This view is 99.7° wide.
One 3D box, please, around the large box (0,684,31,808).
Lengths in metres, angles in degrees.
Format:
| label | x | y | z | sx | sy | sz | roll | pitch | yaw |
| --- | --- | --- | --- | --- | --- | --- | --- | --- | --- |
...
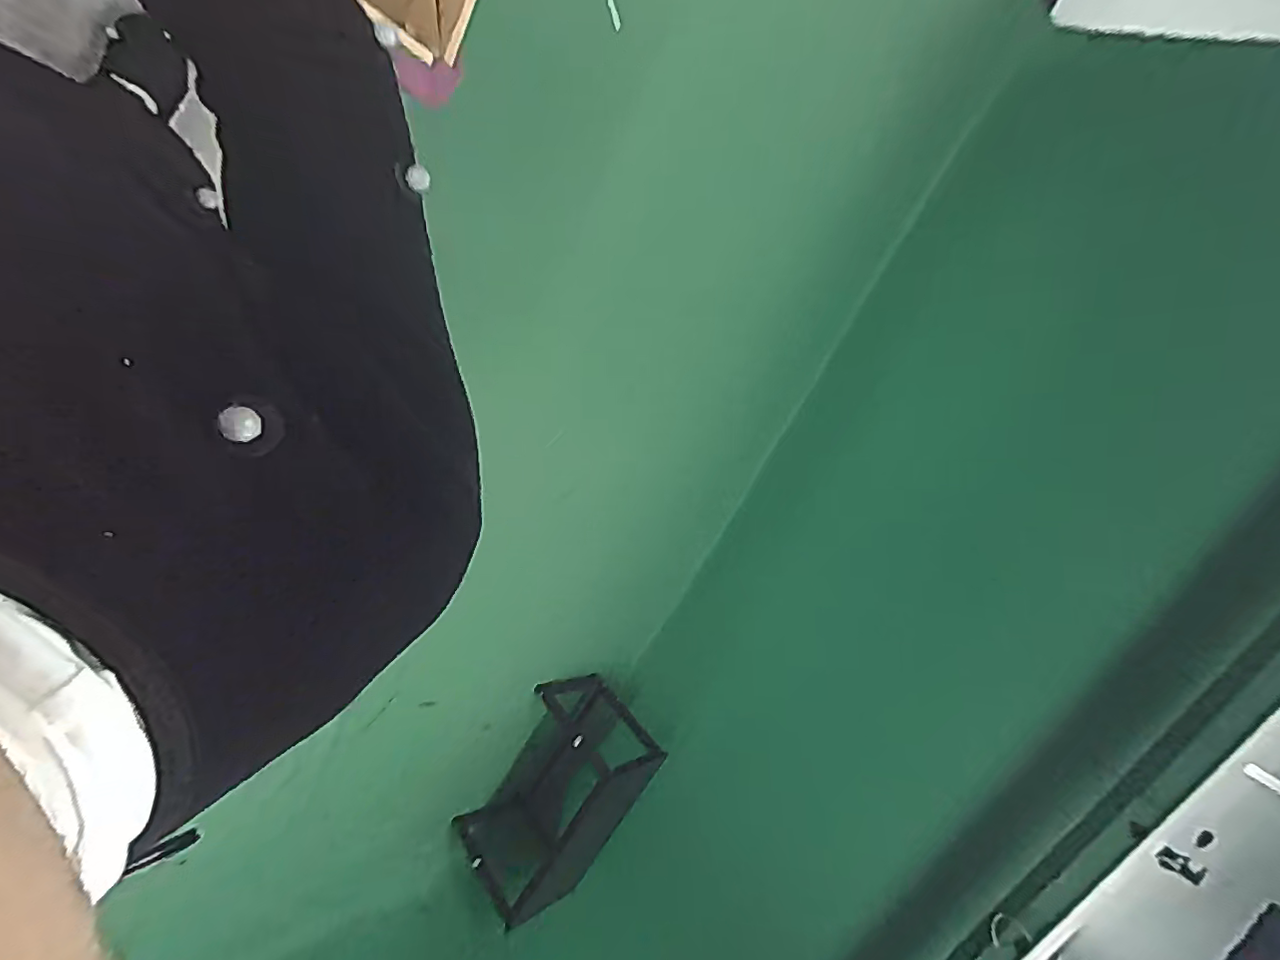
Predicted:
| label | x | y | z | sx | sy | sz | roll | pitch | yaw |
| --- | --- | --- | --- | --- | --- | --- | --- | --- | --- |
| large box | -1.777 | 0.674 | 1.248 | 0.408 | 0.320 | 0.320 | -27 | 141 | -33 |
